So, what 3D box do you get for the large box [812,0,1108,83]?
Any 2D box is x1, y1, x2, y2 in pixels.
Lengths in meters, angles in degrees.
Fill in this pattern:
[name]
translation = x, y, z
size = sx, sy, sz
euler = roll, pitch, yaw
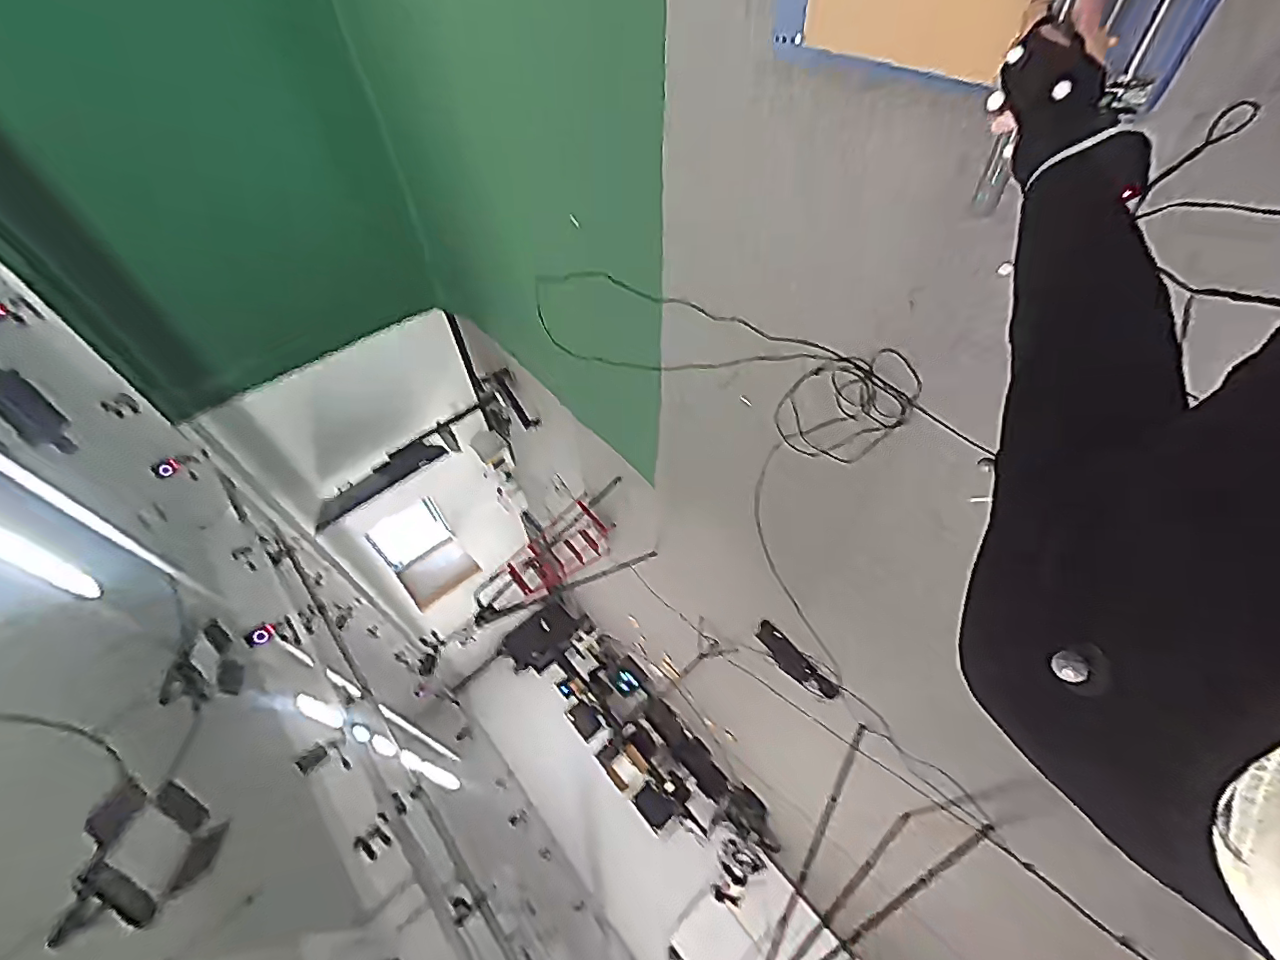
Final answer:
[large box]
translation = 0.576, -0.932, 0.916
size = 0.408, 0.320, 0.320
euler = 42, 154, 29
